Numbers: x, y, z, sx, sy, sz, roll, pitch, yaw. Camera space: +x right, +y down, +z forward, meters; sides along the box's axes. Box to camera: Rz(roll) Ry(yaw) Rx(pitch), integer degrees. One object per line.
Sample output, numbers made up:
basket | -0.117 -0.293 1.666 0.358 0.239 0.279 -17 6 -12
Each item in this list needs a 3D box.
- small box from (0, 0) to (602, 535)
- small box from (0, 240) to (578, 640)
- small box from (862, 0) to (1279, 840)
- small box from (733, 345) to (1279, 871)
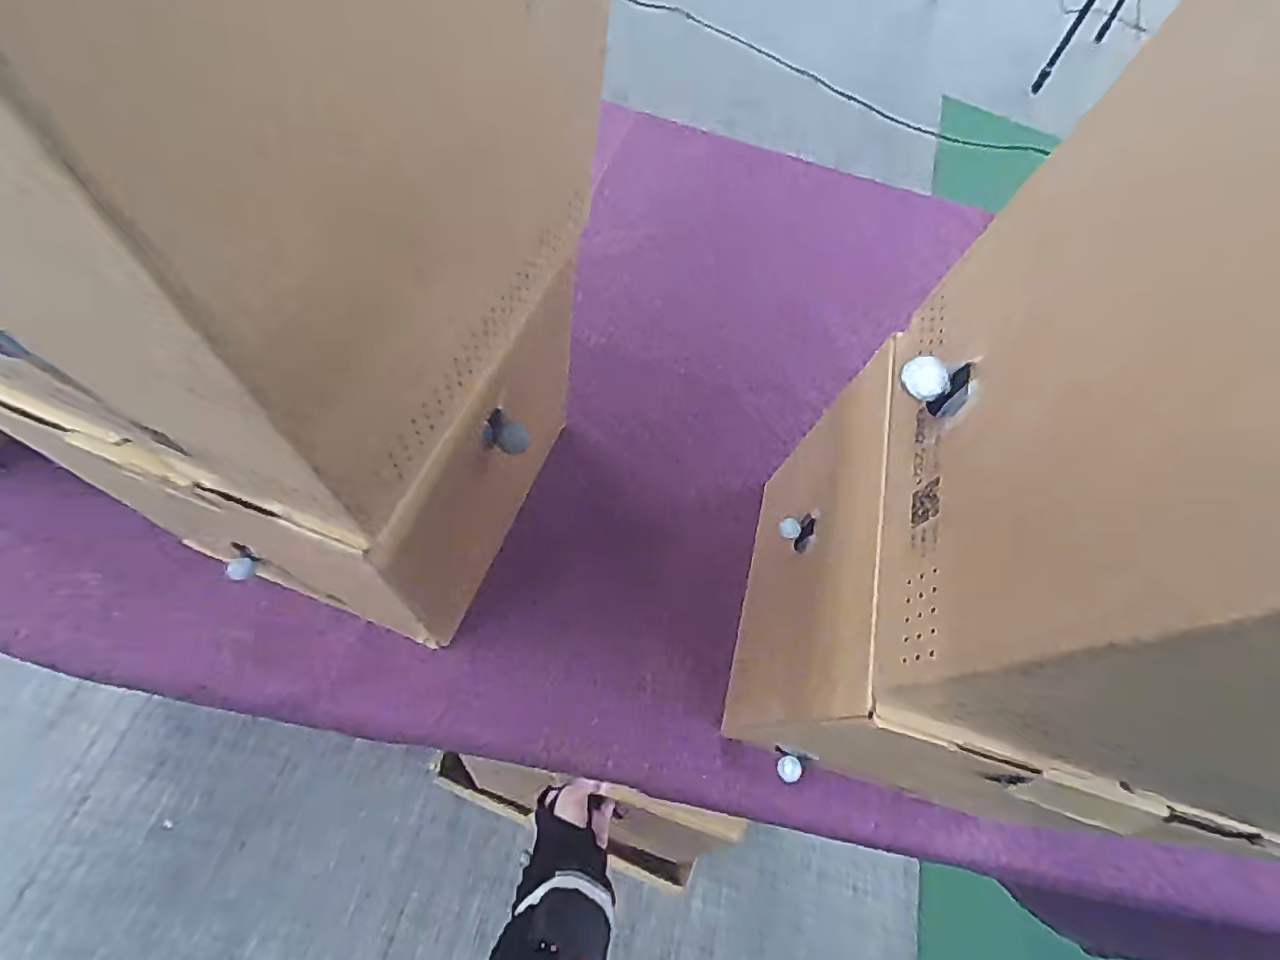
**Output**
small box | -0.116 -0.113 0.142 0.168 0.176 0.179 23 64 2
small box | -0.145 -0.037 0.285 0.168 0.176 0.179 22 64 1
small box | 0.189 -0.004 0.142 0.179 0.176 0.168 18 61 0
small box | 0.159 0.068 0.286 0.168 0.176 0.179 18 61 -1
